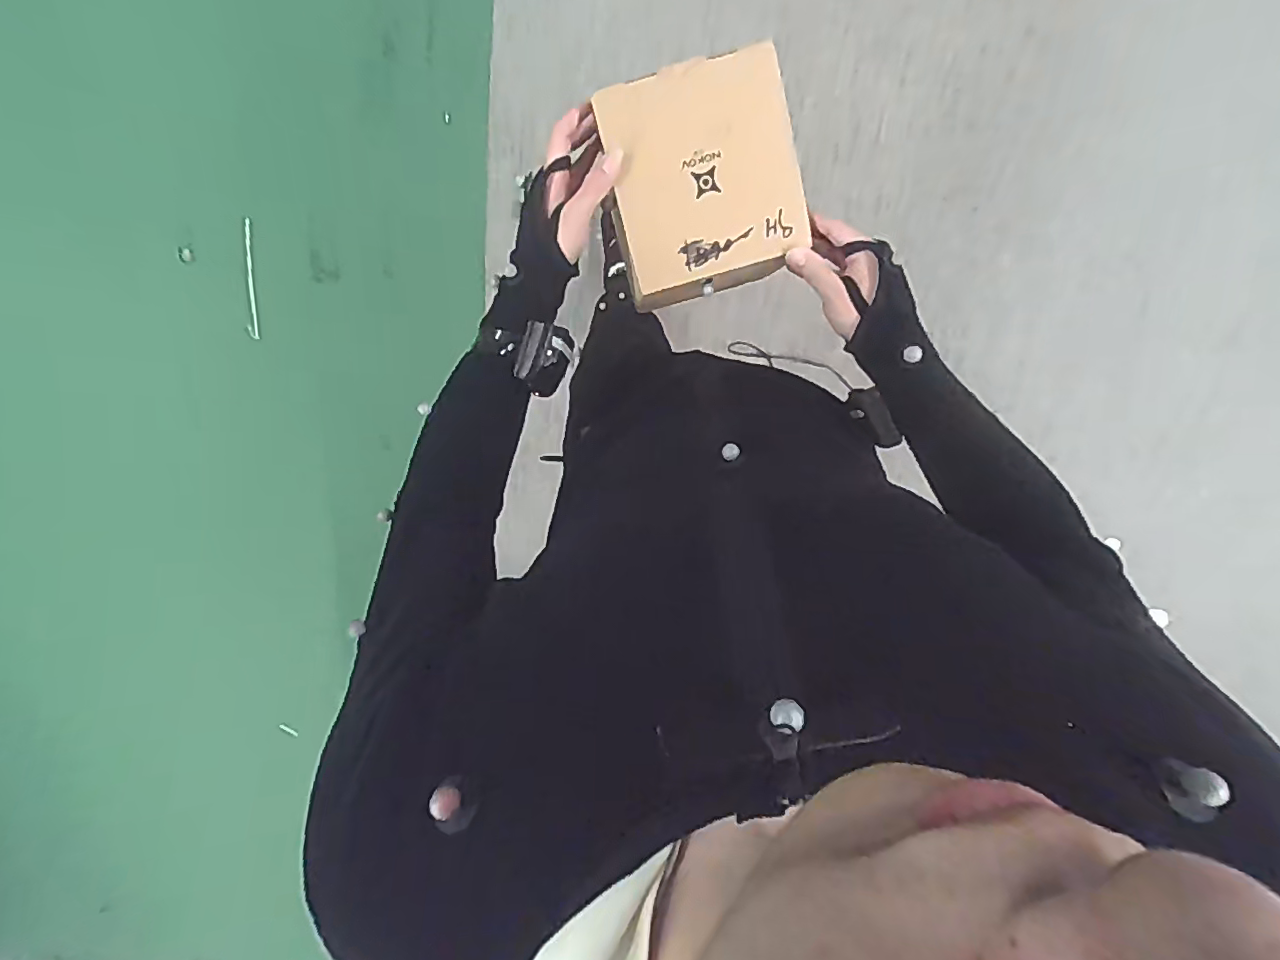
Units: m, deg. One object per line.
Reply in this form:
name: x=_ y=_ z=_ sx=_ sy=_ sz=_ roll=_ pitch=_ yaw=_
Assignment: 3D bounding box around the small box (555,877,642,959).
small box: x=-0.088 y=0.965 z=1.118 sx=0.168 sy=0.176 sz=0.179 roll=8 pitch=110 yaw=0
